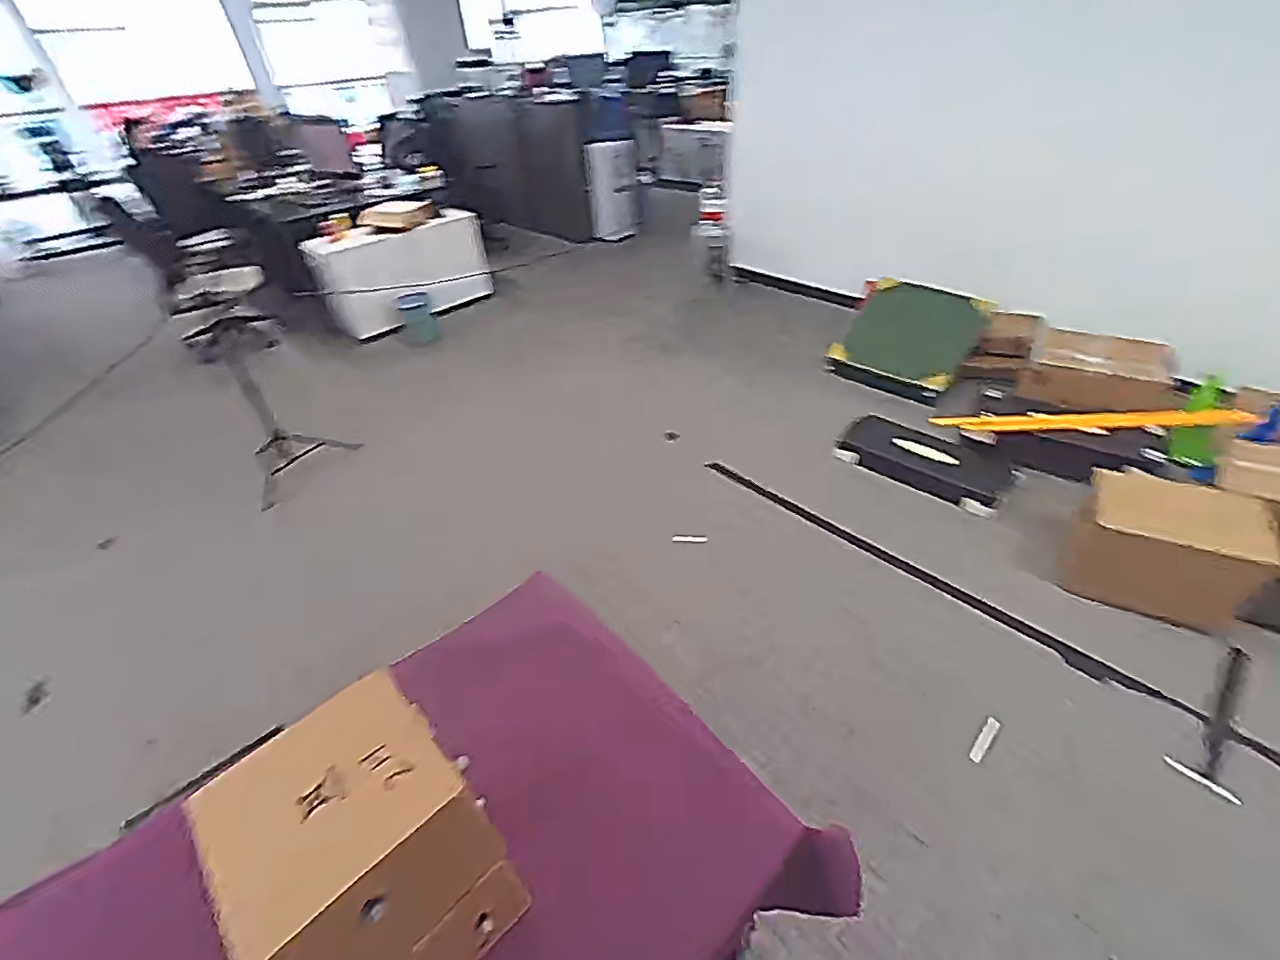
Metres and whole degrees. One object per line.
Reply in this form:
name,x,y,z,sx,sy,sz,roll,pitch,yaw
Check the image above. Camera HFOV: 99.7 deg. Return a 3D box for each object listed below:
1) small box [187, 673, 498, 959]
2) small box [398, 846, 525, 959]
small box,-0.259,0.329,0.503,0.168,0.176,0.179,31,51,34
small box,-0.251,0.453,0.610,0.168,0.176,0.179,-33,47,-31
